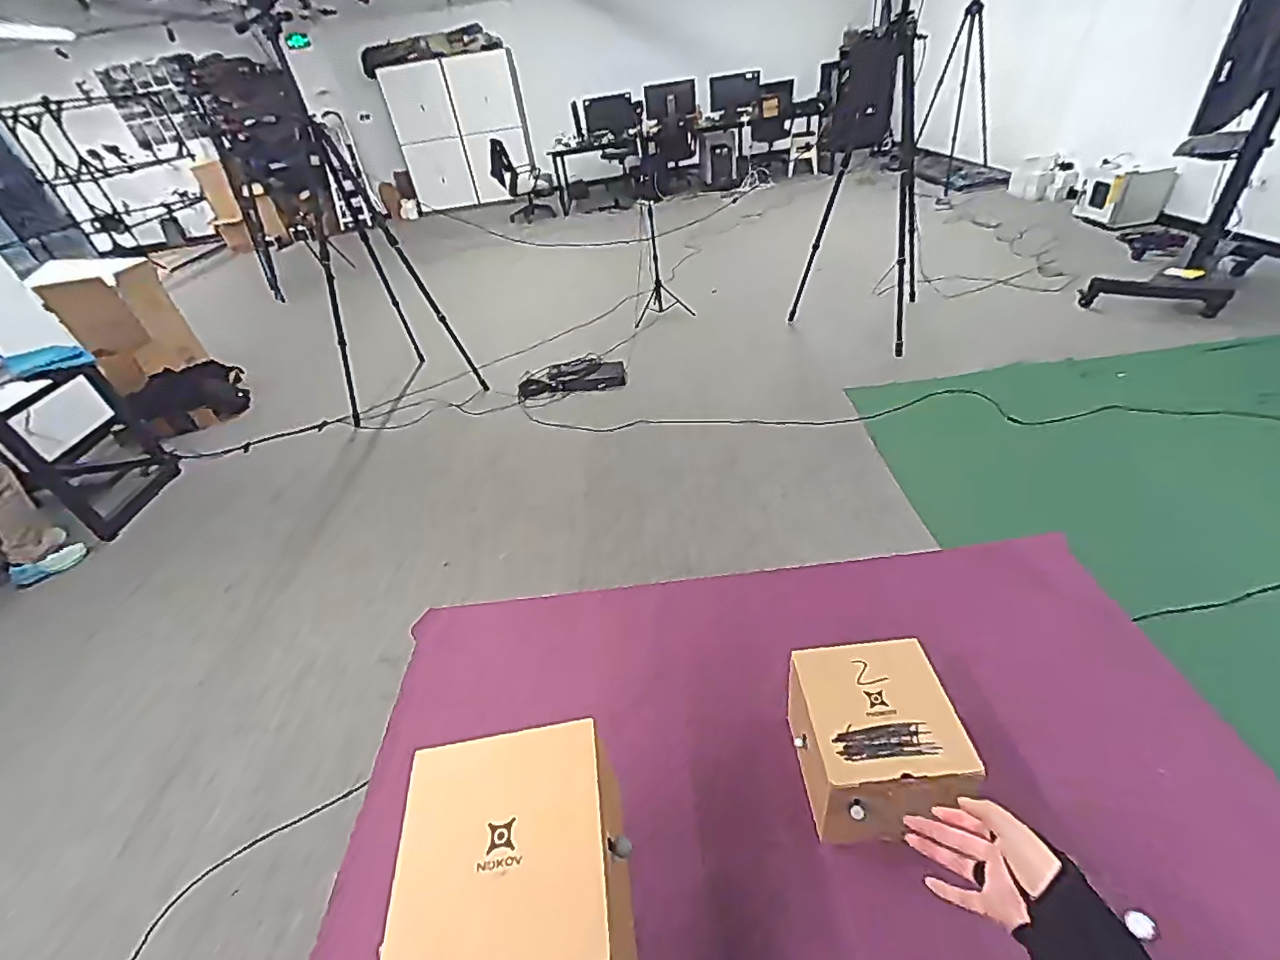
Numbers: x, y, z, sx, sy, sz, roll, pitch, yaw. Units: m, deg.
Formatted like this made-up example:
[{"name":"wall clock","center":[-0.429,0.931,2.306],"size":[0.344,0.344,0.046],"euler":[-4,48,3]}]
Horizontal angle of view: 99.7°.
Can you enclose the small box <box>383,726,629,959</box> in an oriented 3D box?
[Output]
[{"name":"small box","center":[-0.107,0.358,0.494],"size":[0.168,0.176,0.179],"euler":[-10,42,-2]}]
